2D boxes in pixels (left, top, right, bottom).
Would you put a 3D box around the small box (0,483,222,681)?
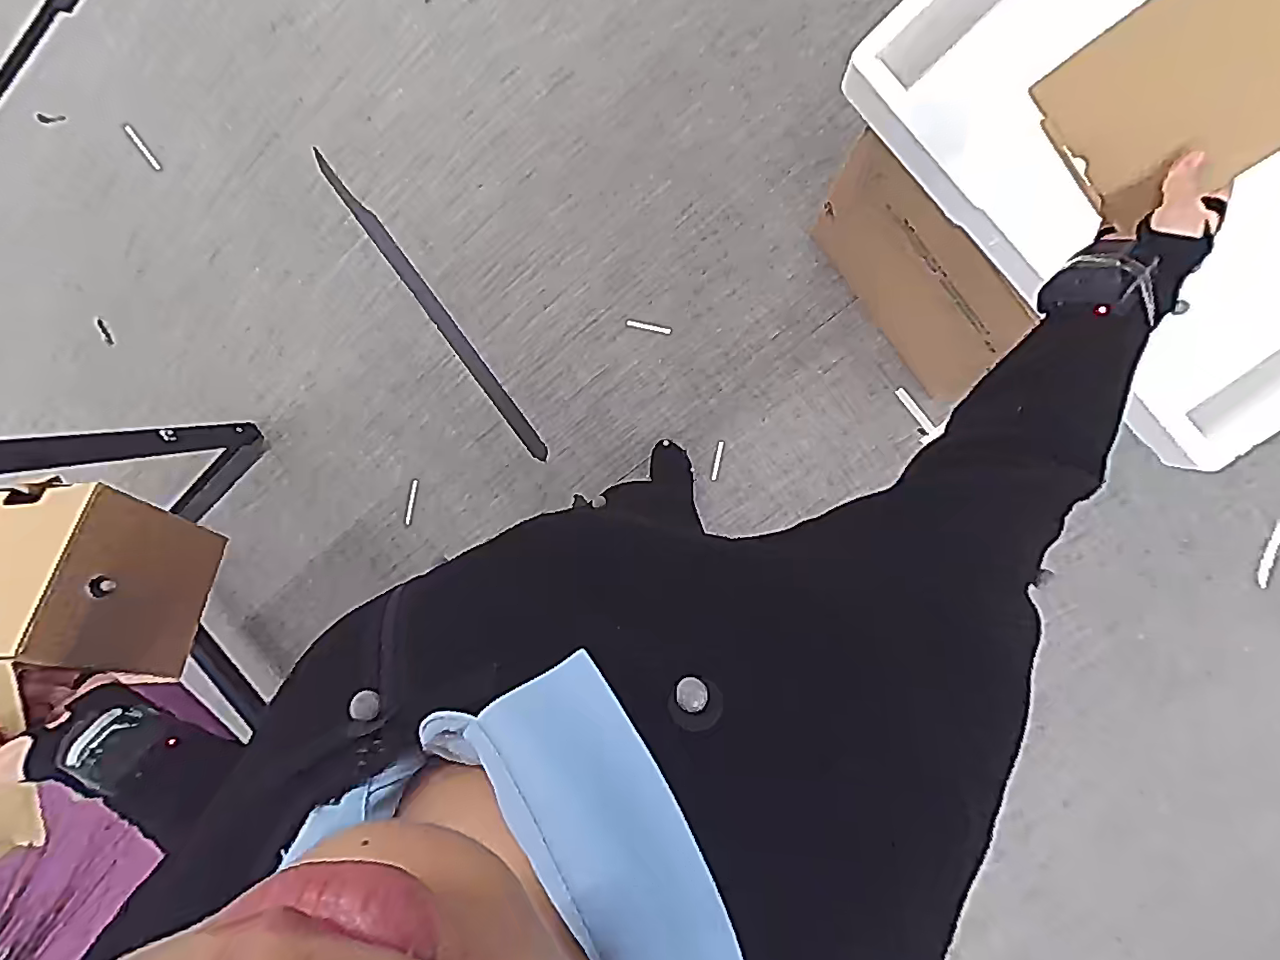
[{"bbox_3d":[-0.611,0.120,0.589,0.168,0.176,0.179,-3,62,6],"label":"small box"}]
